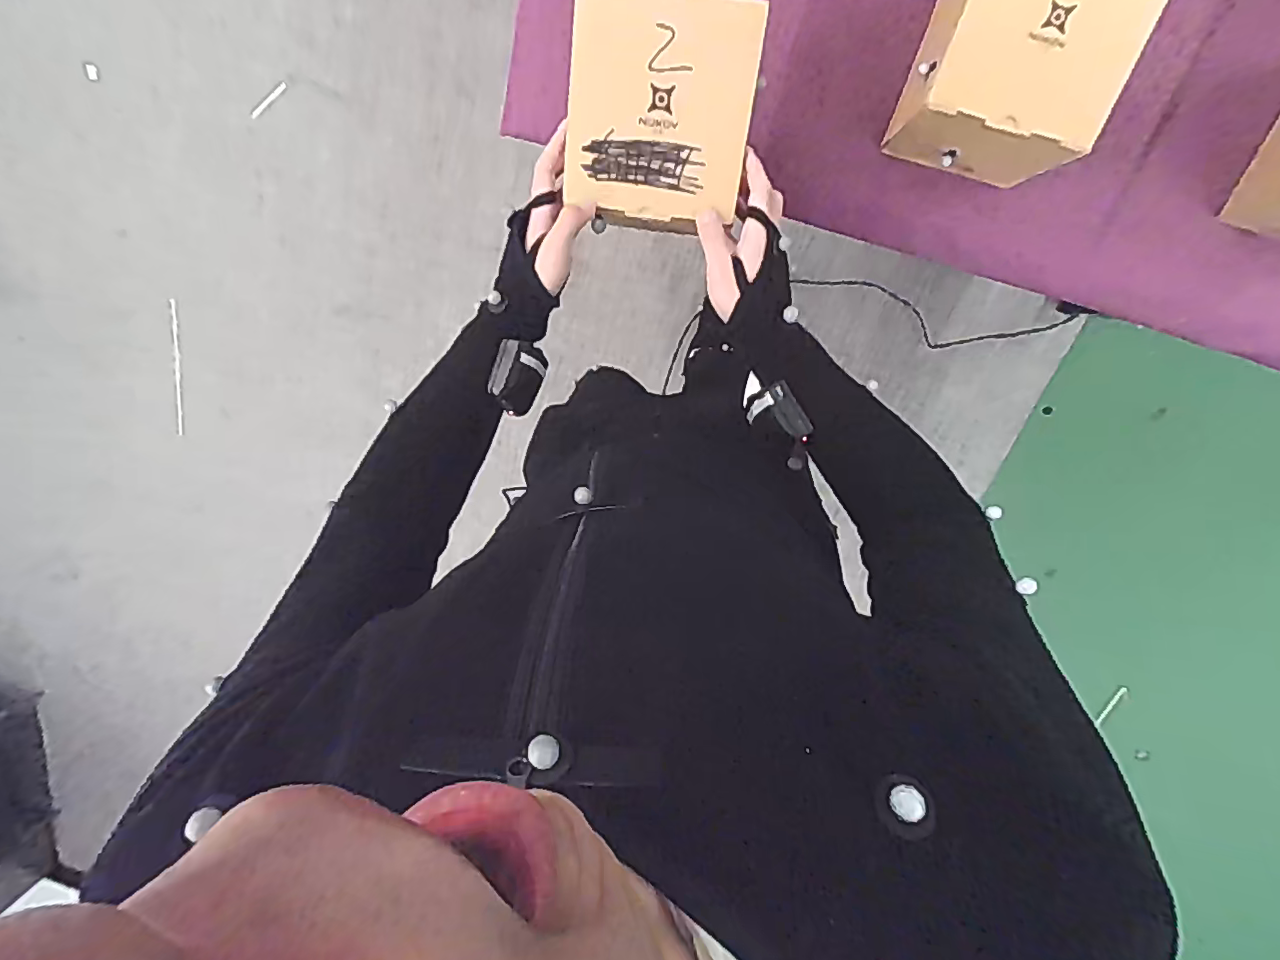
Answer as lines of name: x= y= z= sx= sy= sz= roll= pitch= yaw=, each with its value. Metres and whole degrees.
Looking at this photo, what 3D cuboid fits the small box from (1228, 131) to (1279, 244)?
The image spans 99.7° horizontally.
small box: x=0.775 y=-0.333 z=0.537 sx=0.168 sy=0.176 sz=0.179 roll=20 pitch=110 yaw=4
